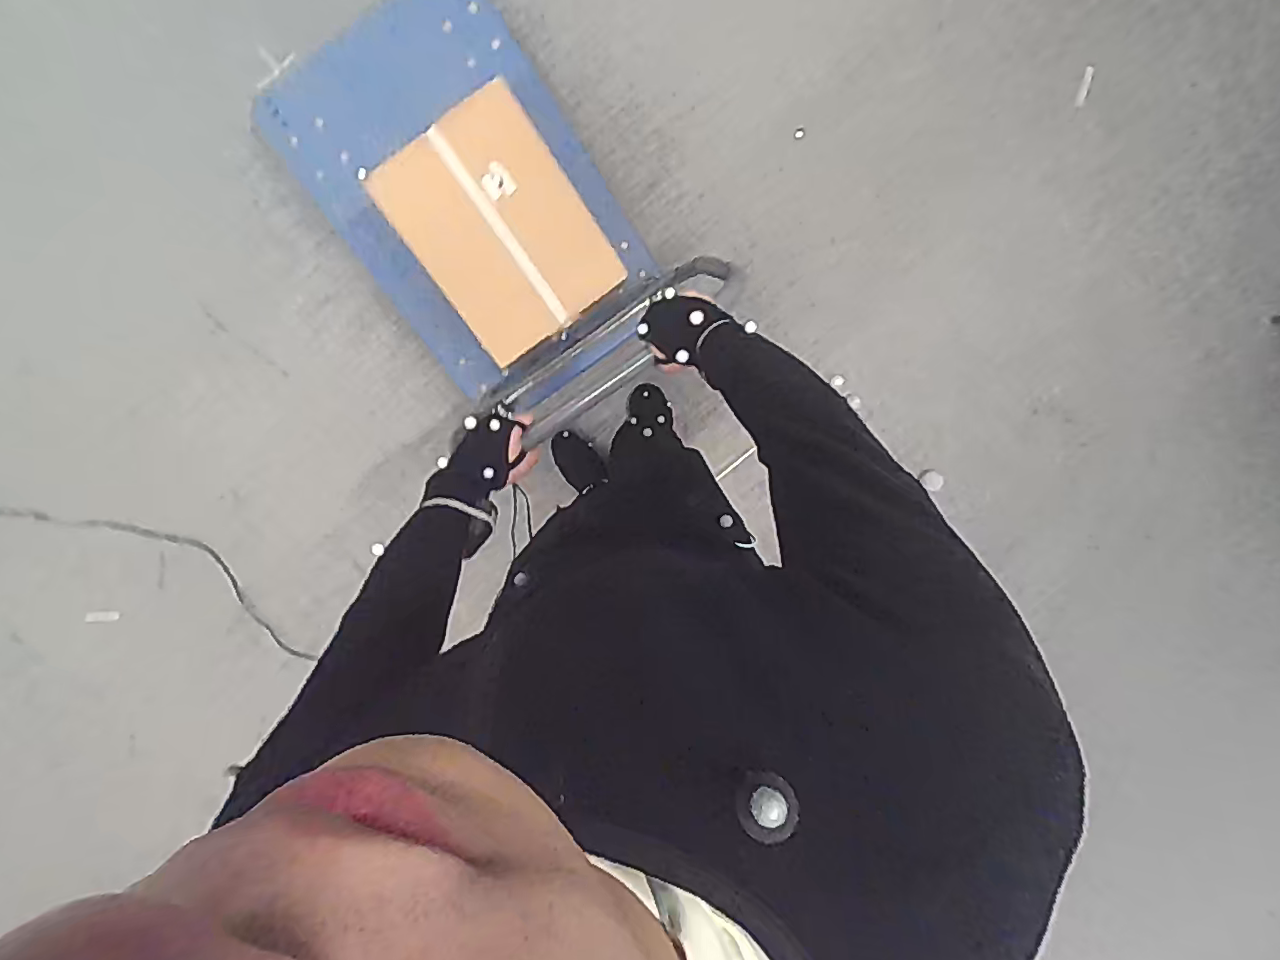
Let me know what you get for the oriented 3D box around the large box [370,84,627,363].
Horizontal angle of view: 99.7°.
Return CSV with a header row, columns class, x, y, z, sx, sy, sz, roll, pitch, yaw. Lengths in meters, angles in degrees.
class,x,y,z,sx,sy,sz,roll,pitch,yaw
large box,-0.269,-0.505,1.166,0.320,0.320,0.408,-35,103,2
